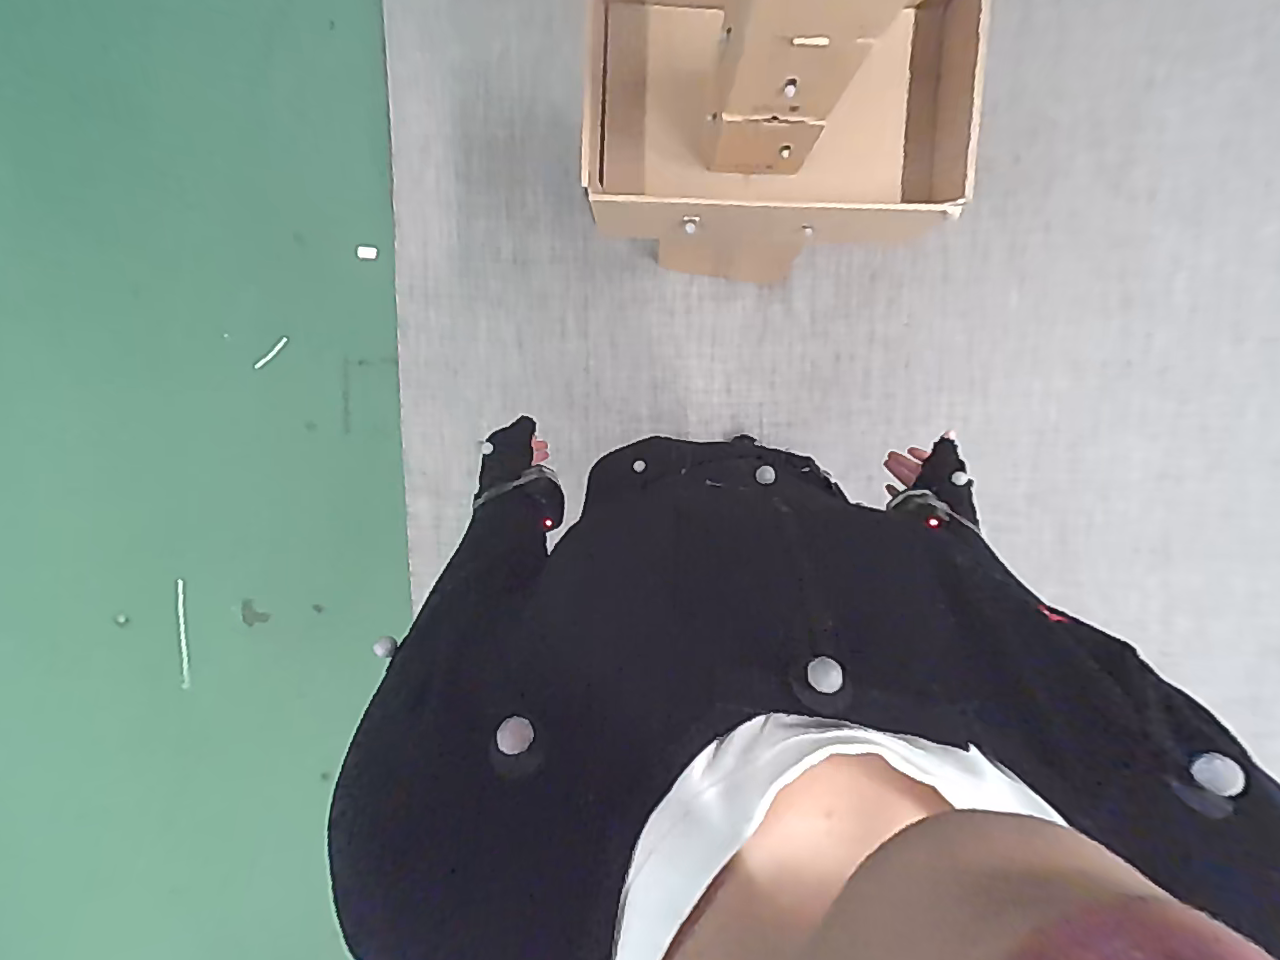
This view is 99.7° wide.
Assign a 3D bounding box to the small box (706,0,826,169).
[{"bbox_3d":[0.204,-0.643,0.896,0.168,0.176,0.179,1,94,-1],"label":"small box"}]

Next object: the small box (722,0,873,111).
[{"bbox_3d":[0.207,-0.635,0.732,0.168,0.176,0.179,2,96,-1],"label":"small box"}]

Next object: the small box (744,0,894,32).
[{"bbox_3d":[0.210,-0.616,0.568,0.179,0.176,0.168,0,96,-2],"label":"small box"}]
